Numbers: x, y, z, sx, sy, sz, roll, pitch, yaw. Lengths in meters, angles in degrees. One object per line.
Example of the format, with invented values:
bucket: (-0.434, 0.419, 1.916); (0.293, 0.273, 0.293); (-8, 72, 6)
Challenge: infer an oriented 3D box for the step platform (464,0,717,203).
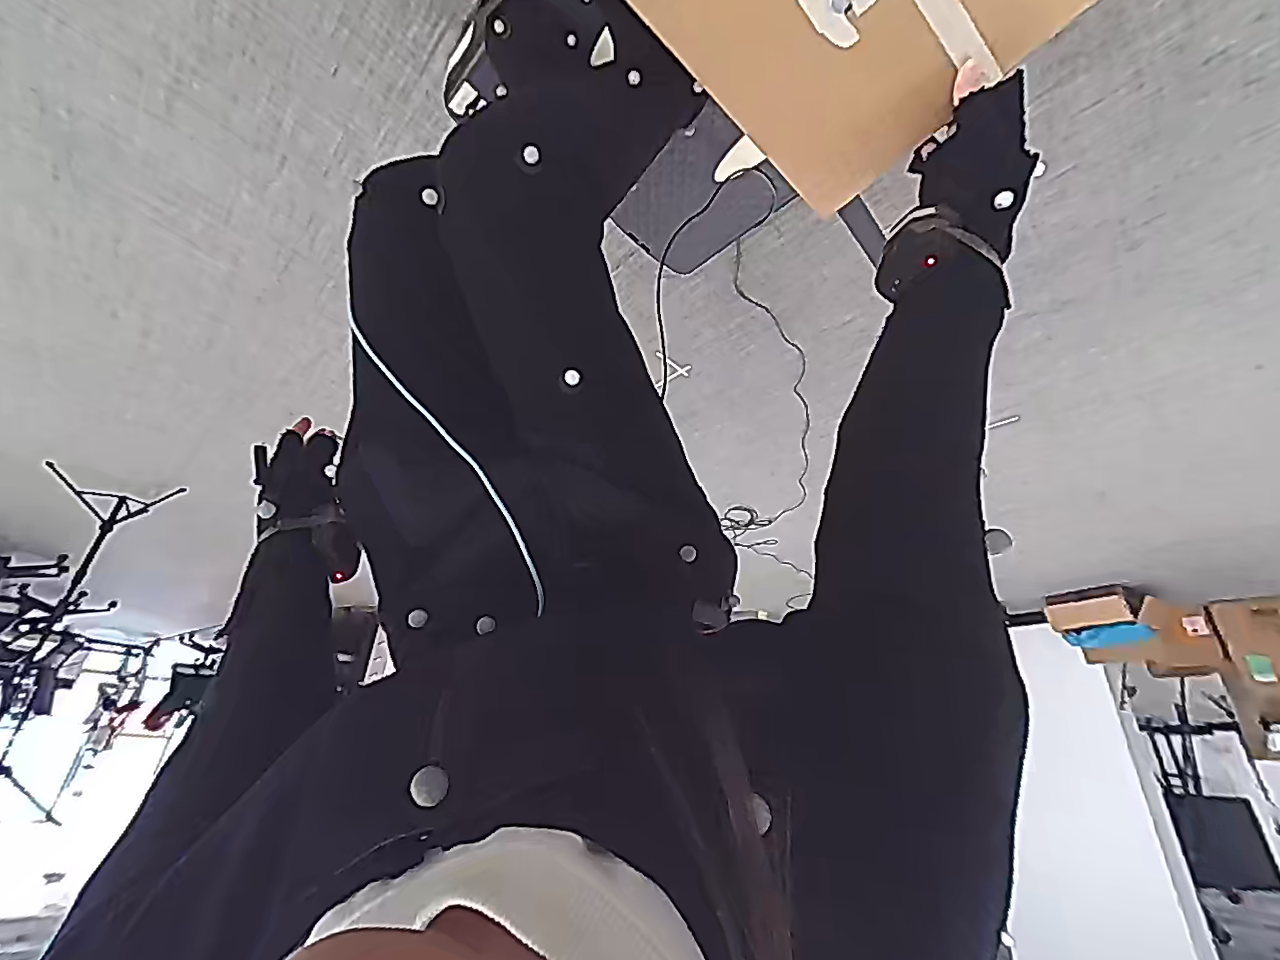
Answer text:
step platform: (0.048, -0.702, 0.714); (0.286, 0.204, 0.684); (26, 144, -37)

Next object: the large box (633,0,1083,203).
large box: (0.155, -0.542, 0.436); (0.408, 0.320, 0.320); (29, 144, -27)
